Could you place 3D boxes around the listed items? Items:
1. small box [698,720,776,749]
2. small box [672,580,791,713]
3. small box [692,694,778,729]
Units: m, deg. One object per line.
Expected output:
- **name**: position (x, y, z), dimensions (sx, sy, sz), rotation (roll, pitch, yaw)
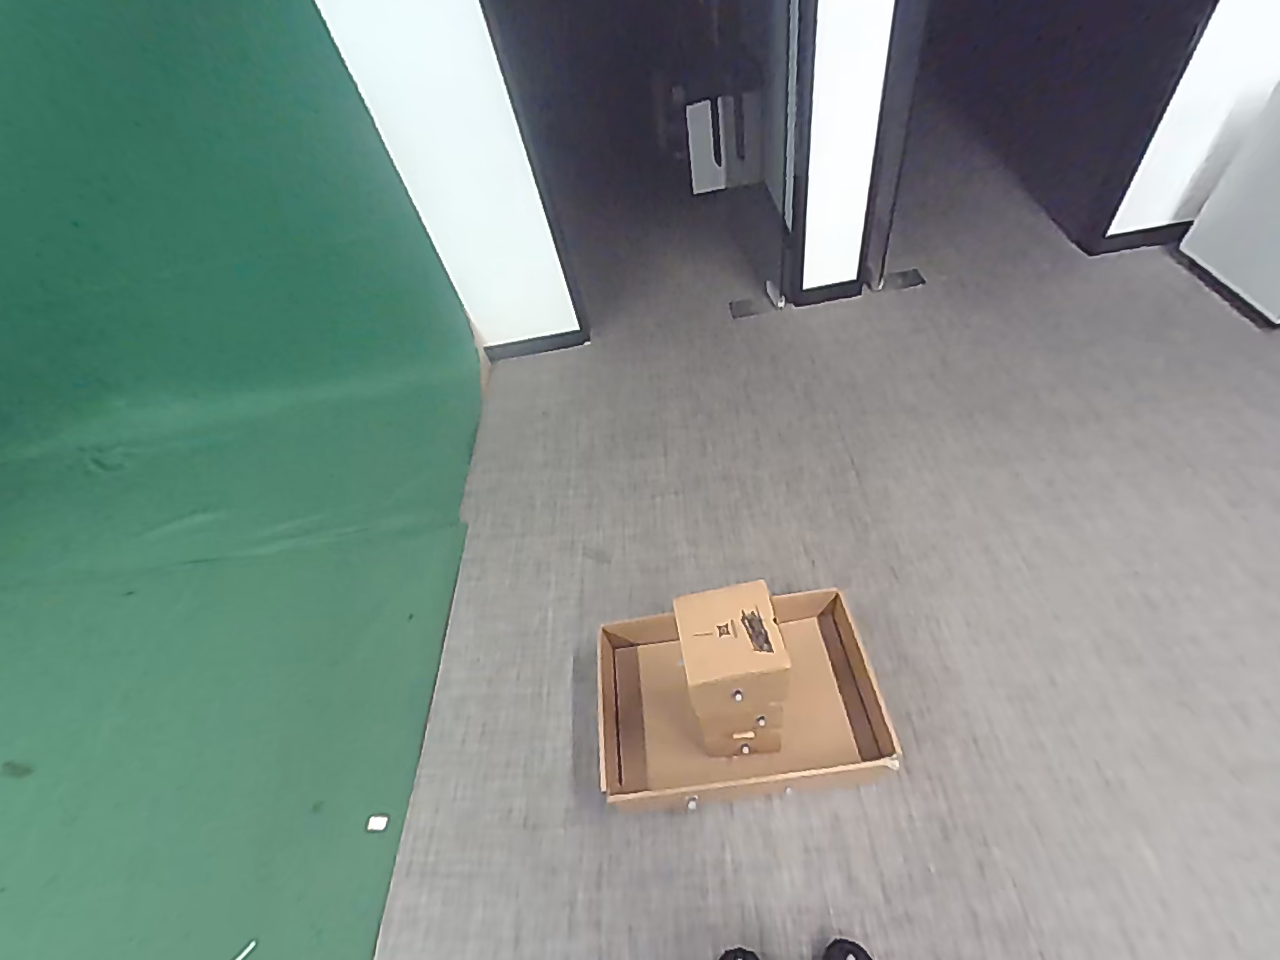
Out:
- **small box**: position (0.220, 0.513, 1.255), dimensions (0.168, 0.176, 0.179), rotation (-8, 50, 7)
- **small box**: position (0.165, 0.312, 1.004), dimensions (0.179, 0.176, 0.168), rotation (-13, 50, 0)
- **small box**: position (0.192, 0.410, 1.134), dimensions (0.168, 0.176, 0.179), rotation (-8, 48, 6)
